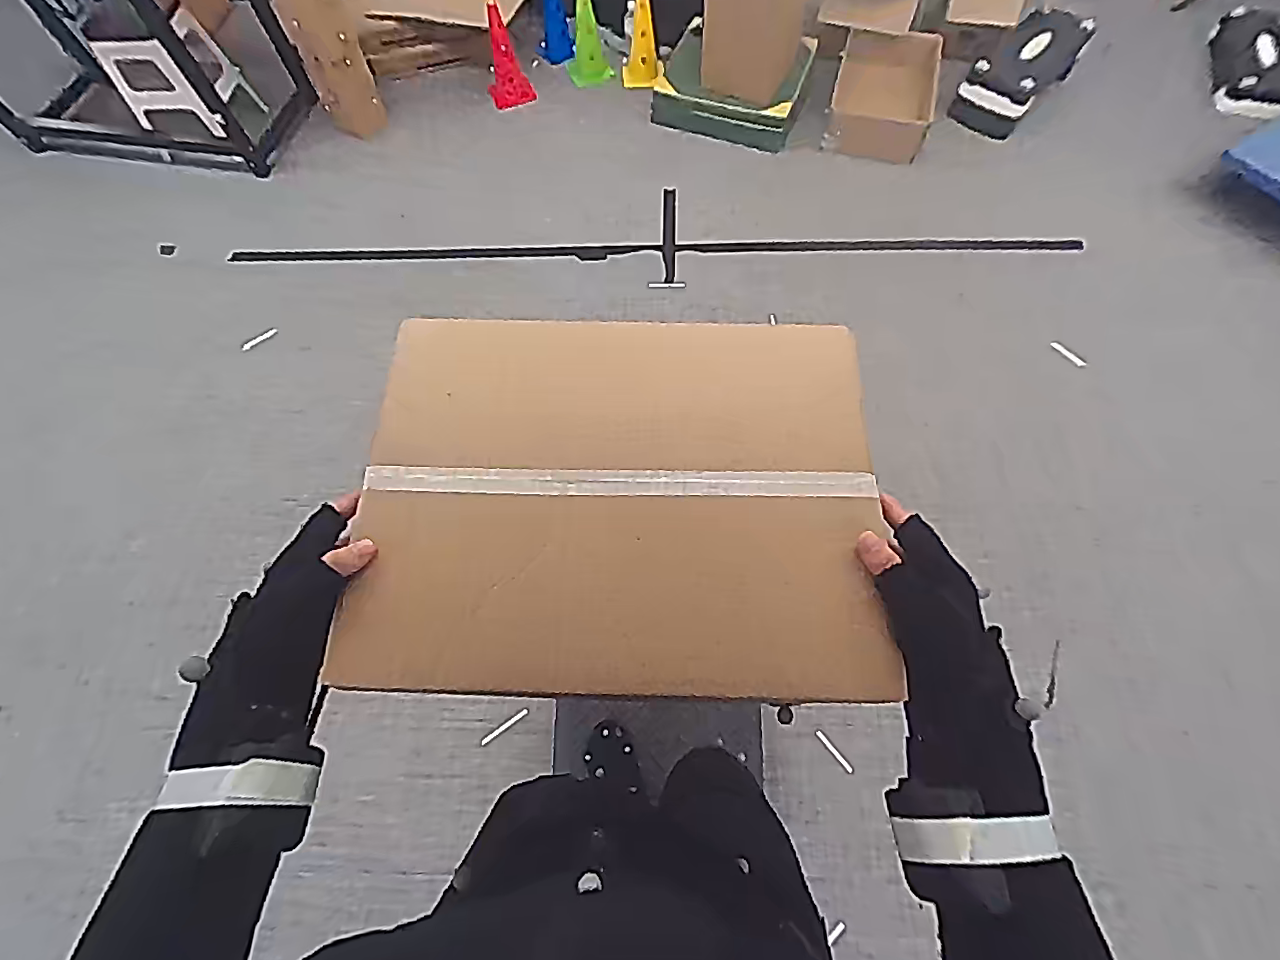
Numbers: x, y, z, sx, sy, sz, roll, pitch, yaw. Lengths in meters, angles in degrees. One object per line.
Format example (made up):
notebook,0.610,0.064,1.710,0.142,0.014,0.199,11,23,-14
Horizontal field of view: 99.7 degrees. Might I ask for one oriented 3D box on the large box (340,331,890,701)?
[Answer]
large box,-0.015,0.062,0.578,0.408,0.320,0.320,2,68,0
